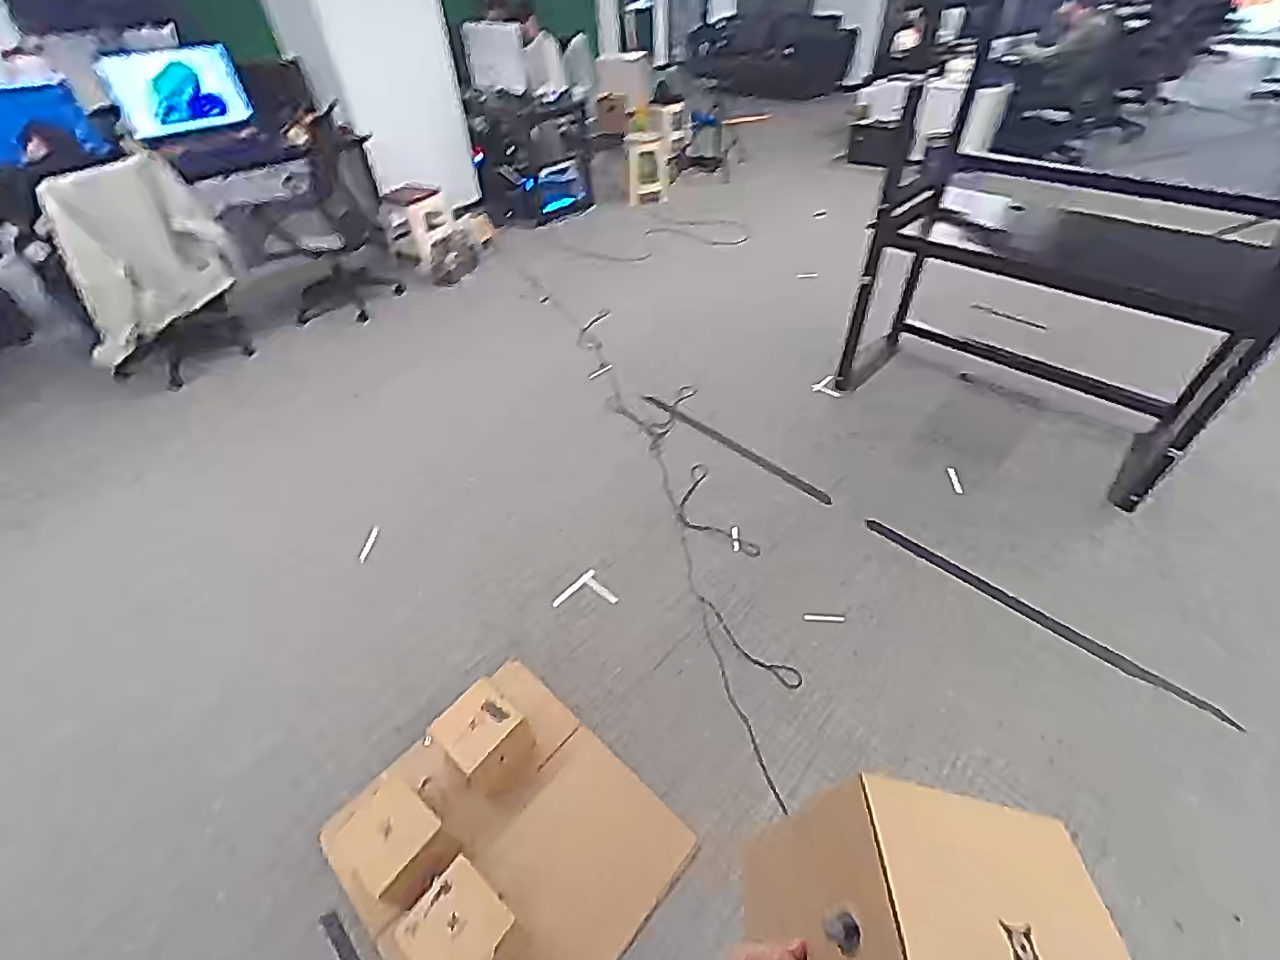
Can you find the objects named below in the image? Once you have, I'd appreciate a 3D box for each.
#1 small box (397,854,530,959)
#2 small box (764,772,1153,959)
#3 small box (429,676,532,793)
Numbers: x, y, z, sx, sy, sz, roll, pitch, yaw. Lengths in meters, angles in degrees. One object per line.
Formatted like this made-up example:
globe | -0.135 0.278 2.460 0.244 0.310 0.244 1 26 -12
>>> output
small box | -0.343 0.903 1.083 0.179 0.176 0.168 29 52 27
small box | 0.191 0.321 0.337 0.168 0.176 0.179 19 38 -9
small box | -0.389 0.640 1.358 0.168 0.176 0.179 28 52 28
